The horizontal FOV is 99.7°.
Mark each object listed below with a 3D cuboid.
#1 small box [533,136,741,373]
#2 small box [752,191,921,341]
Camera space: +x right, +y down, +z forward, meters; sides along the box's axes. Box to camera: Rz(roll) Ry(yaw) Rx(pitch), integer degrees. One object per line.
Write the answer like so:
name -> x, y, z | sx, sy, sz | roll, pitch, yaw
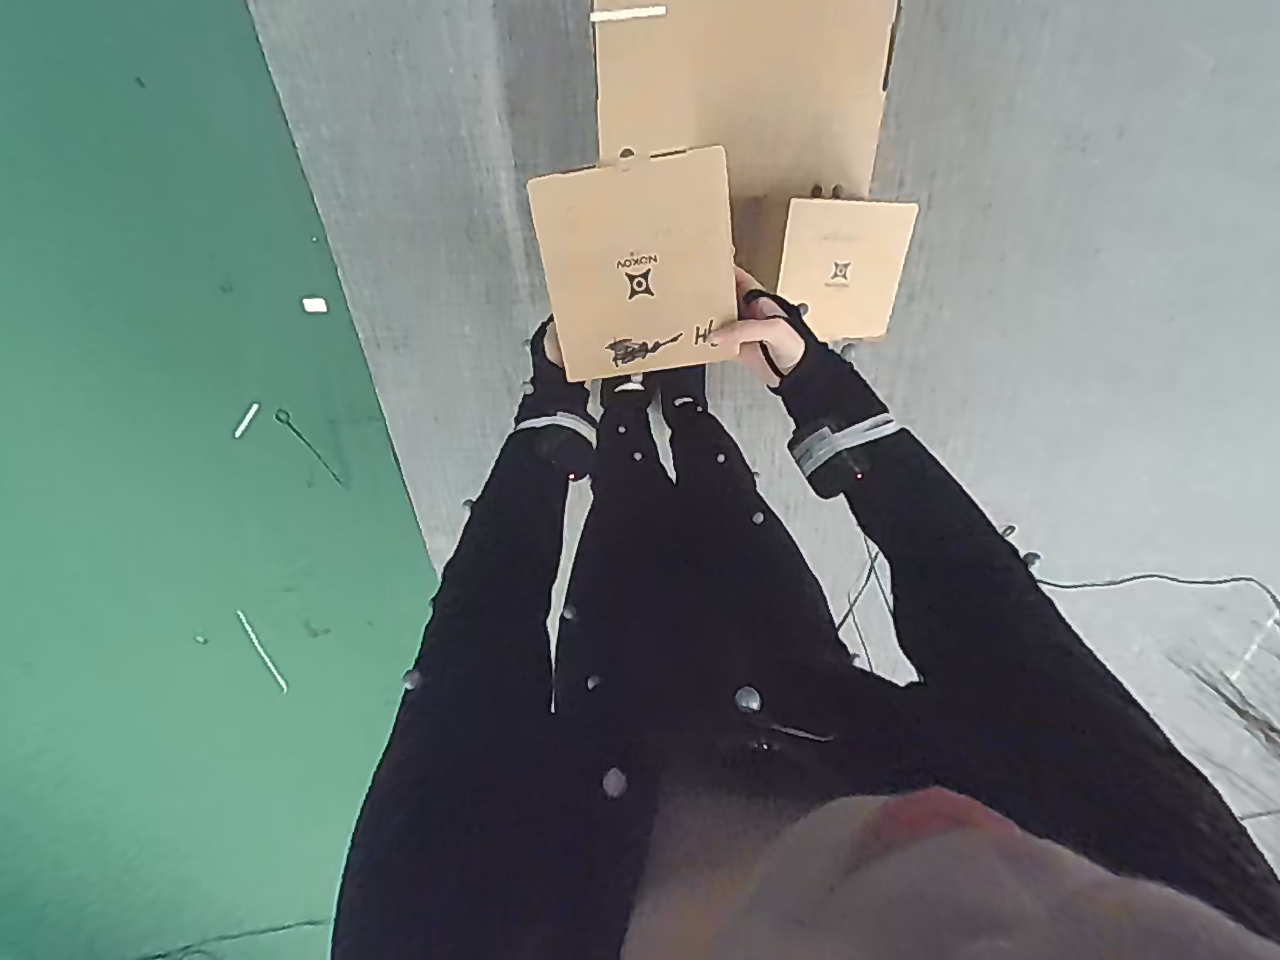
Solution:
small box -> 0.003, -0.220, 0.545 | 0.168, 0.176, 0.179 | -7, 114, 5
small box -> 0.264, -0.311, 0.778 | 0.168, 0.176, 0.179 | 1, 119, -2
